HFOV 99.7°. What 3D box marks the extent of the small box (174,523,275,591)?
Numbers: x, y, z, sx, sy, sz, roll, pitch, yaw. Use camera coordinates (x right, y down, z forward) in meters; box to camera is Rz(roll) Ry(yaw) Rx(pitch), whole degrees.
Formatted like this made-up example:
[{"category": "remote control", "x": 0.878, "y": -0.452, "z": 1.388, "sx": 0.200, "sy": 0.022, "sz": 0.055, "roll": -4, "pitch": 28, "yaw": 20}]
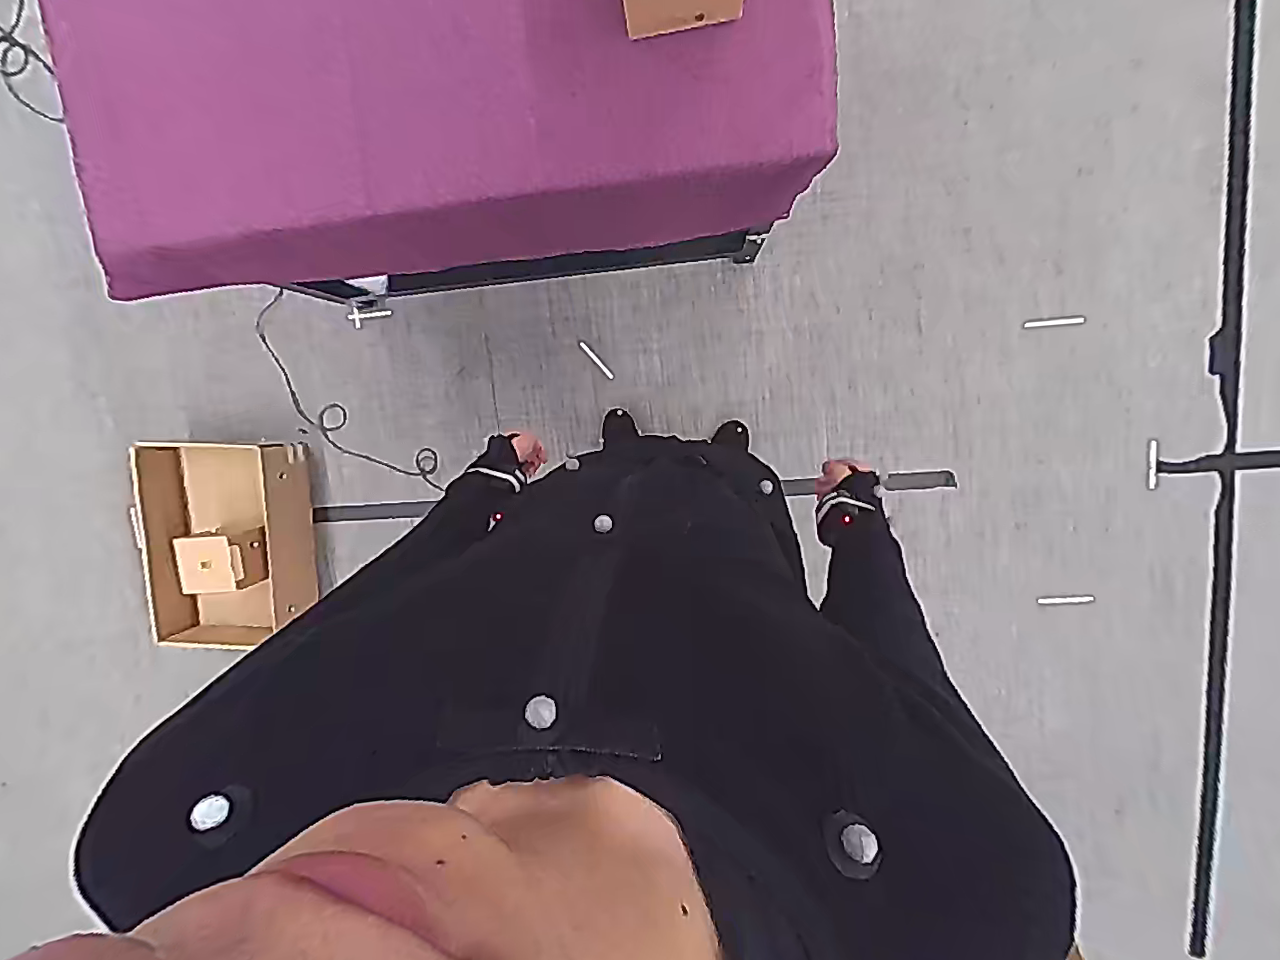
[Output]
[{"category": "small box", "x": -1.237, "y": 0.227, "z": 1.628, "sx": 0.179, "sy": 0.176, "sz": 0.168, "roll": -4, "pitch": 97, "yaw": 5}]
